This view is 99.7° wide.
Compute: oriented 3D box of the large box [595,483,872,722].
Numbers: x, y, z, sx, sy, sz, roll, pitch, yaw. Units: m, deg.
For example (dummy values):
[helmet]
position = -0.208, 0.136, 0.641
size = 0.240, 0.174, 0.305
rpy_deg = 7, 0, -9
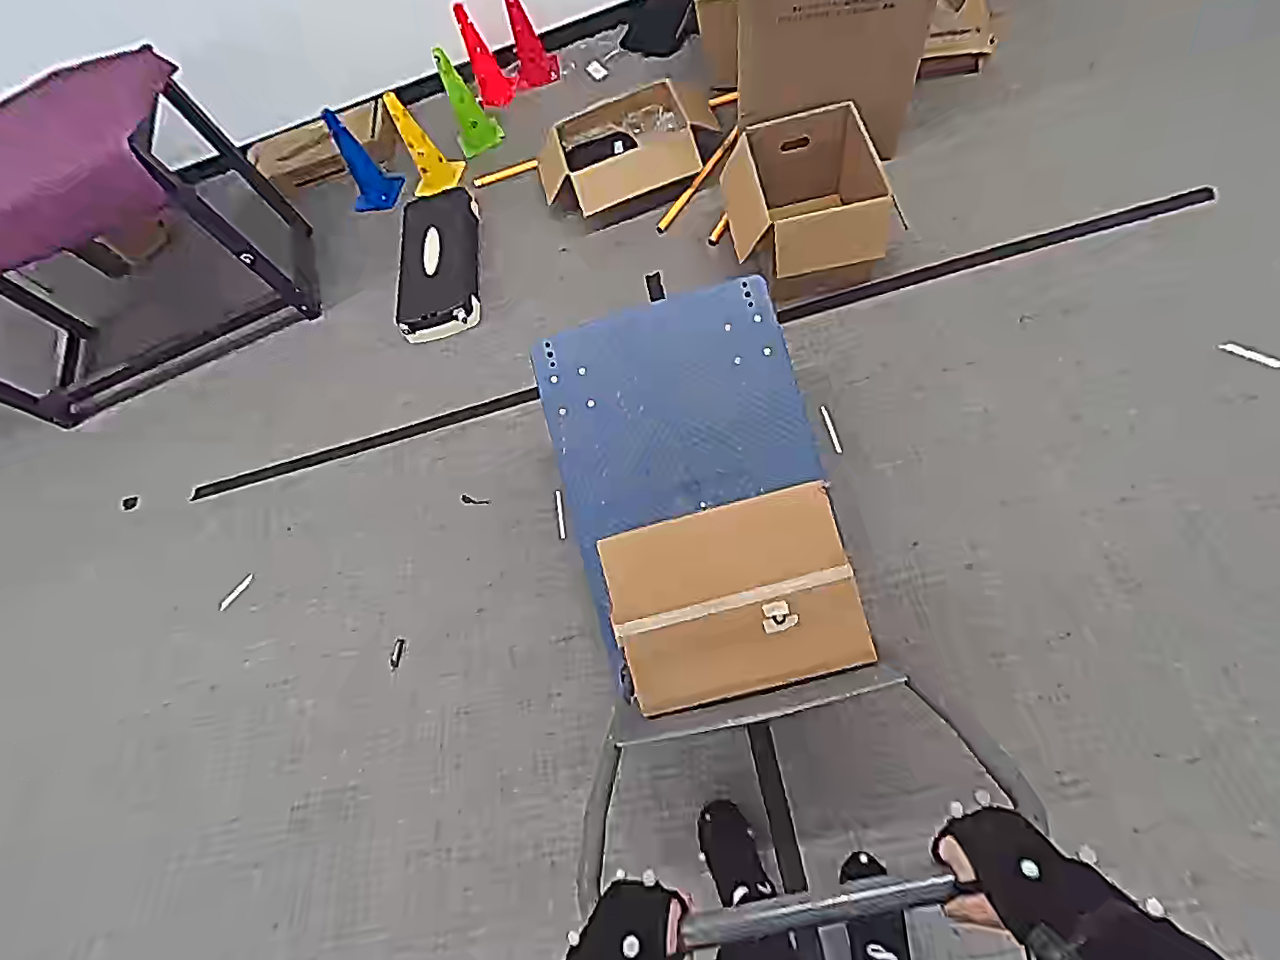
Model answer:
[large box]
position = 0.163, 0.217, 1.054
size = 0.408, 0.320, 0.320
rpy_deg = -16, 86, 4
